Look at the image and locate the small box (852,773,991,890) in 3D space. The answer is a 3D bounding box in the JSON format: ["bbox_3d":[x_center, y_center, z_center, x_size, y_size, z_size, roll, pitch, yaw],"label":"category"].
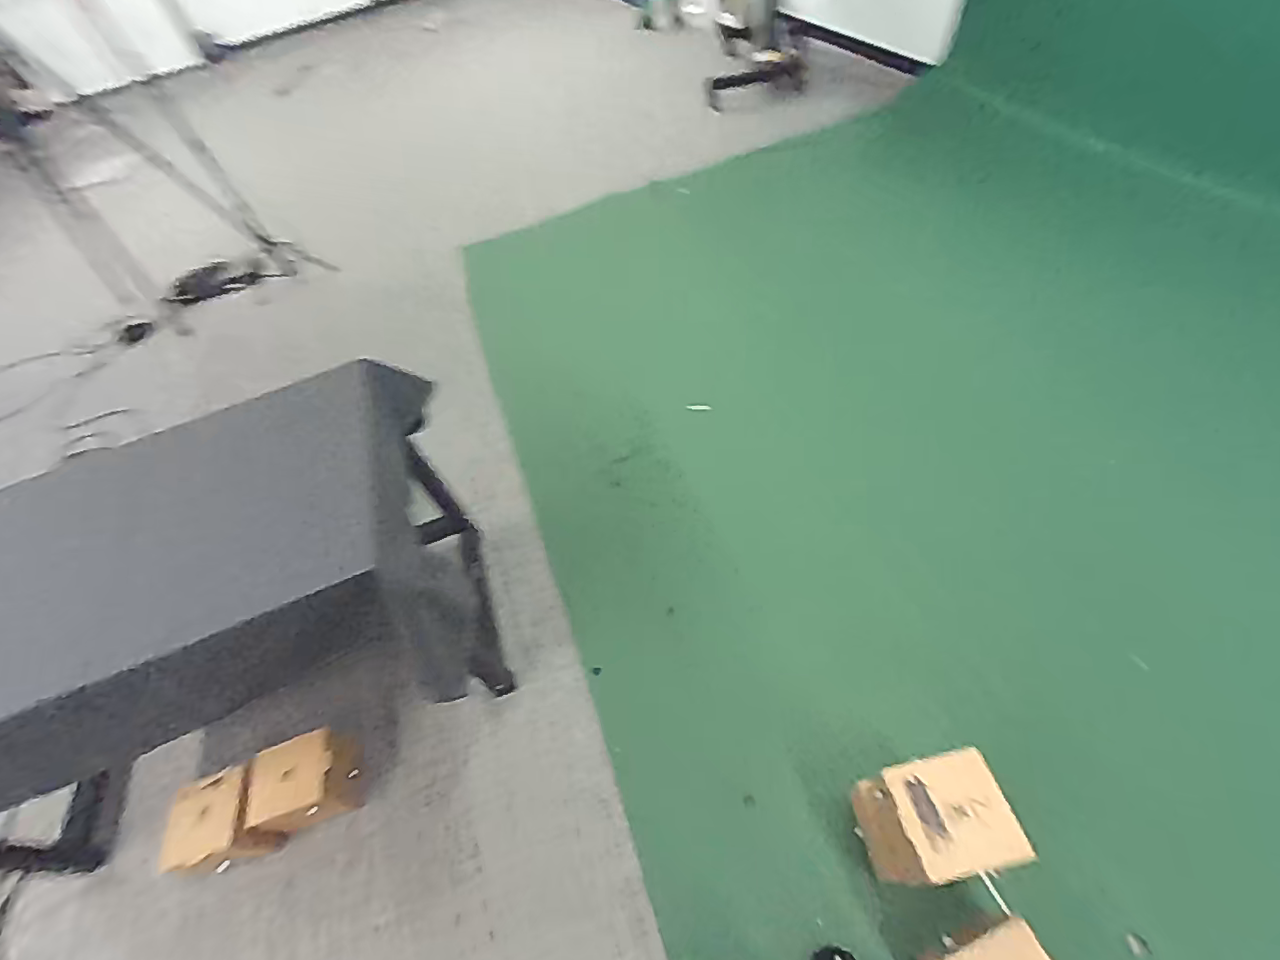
[{"bbox_3d":[0.548,0.705,1.083,0.179,0.176,0.168,-13,51,2],"label":"small box"}]

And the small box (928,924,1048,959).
[{"bbox_3d":[0.618,0.894,0.922,0.179,0.176,0.168,-22,52,-7],"label":"small box"}]
